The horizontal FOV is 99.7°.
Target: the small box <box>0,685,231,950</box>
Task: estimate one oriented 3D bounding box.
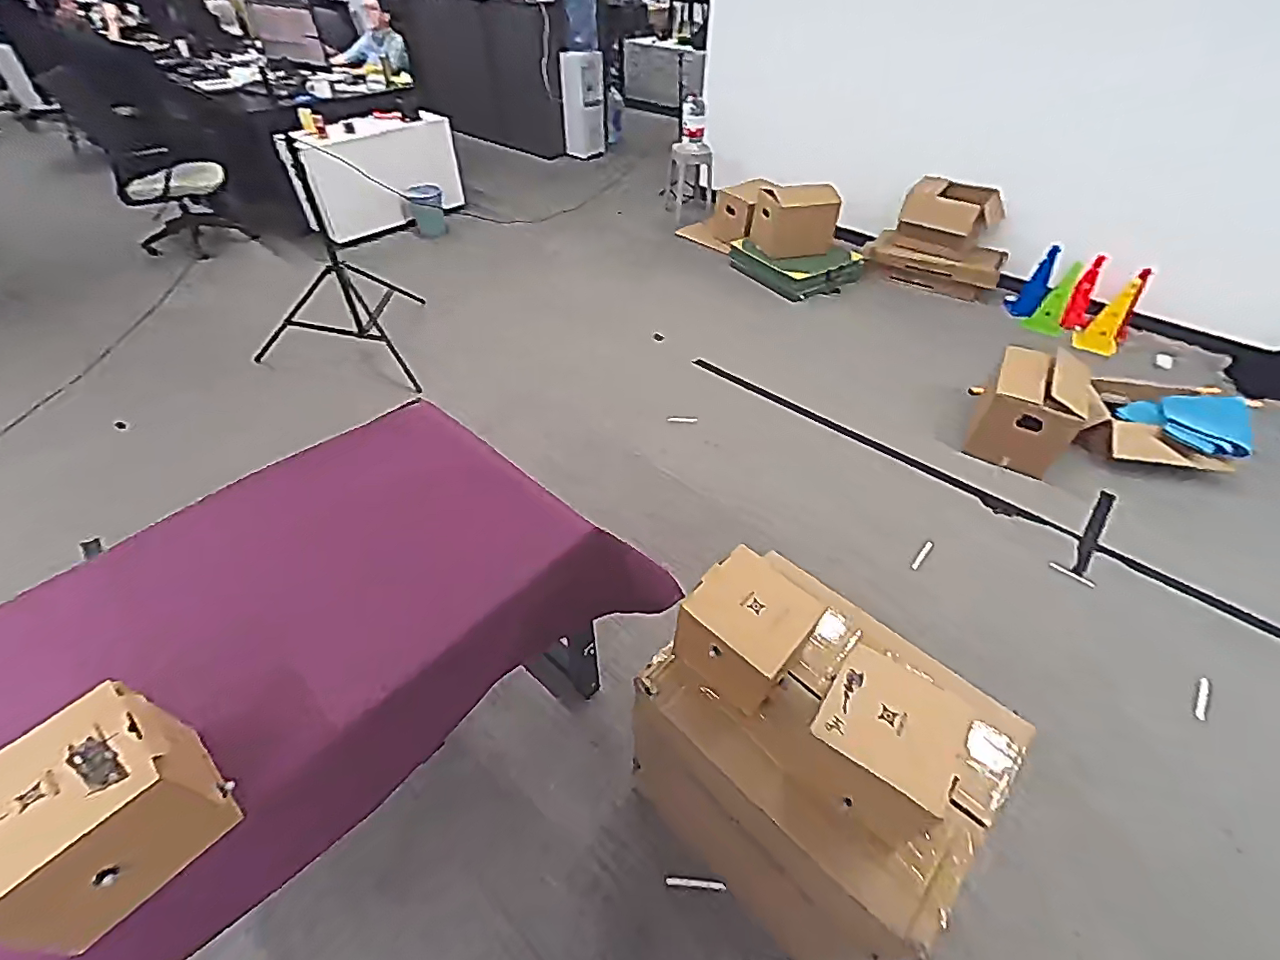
[{"bbox_3d":[-0.615,0.381,0.617,0.168,0.176,0.179,31,53,28],"label":"small box"}]

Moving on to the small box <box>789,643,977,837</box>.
[{"bbox_3d":[0.341,0.379,0.783,0.179,0.176,0.168,28,52,25],"label":"small box"}]
